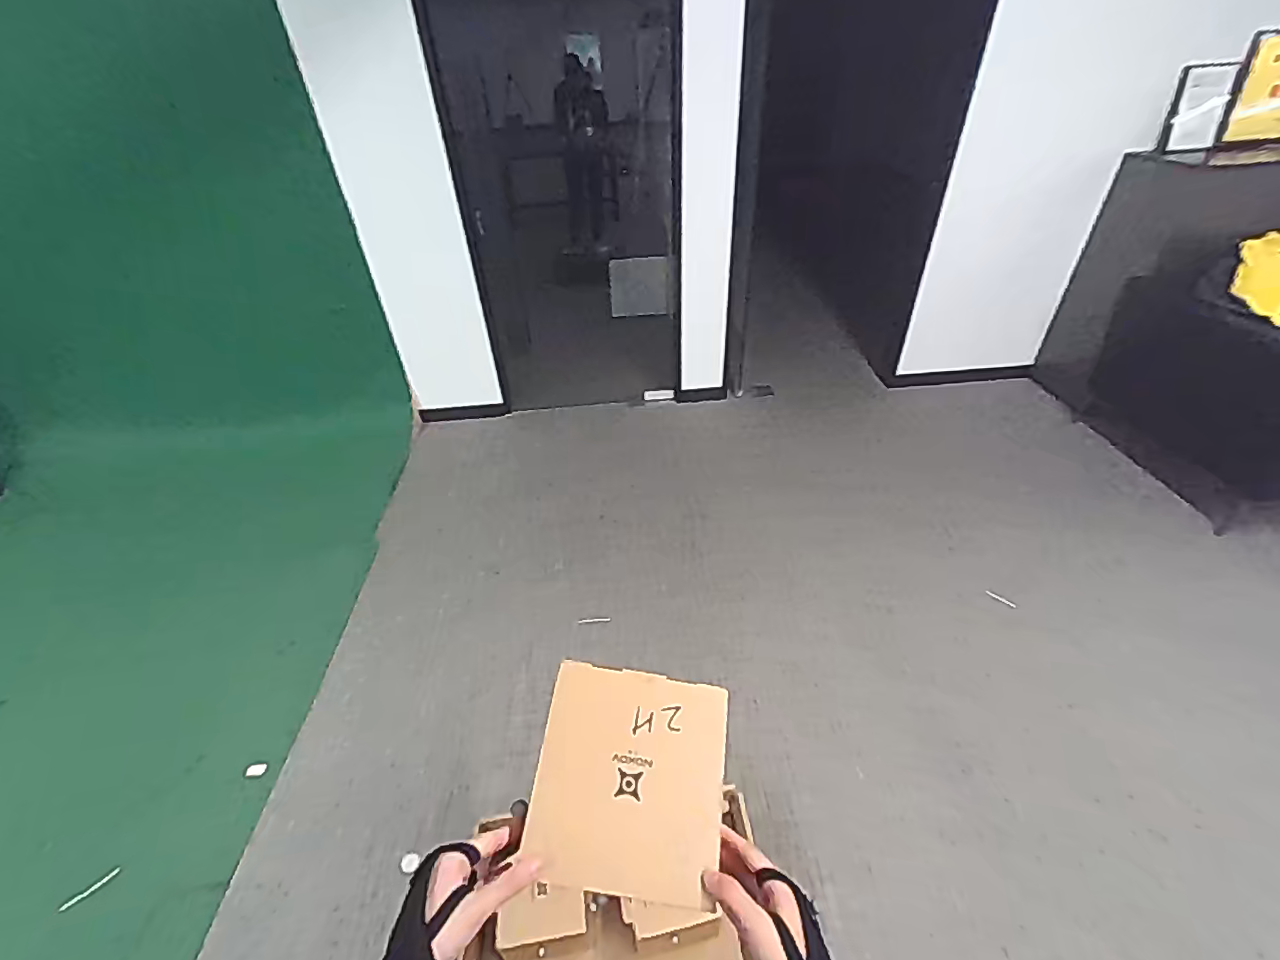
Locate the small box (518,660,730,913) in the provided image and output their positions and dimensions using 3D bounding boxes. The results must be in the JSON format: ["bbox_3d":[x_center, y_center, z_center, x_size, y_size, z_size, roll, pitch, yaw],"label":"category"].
[{"bbox_3d":[-0.013,0.303,0.545,0.168,0.176,0.179,10,57,0],"label":"small box"}]

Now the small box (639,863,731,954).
[{"bbox_3d":[0.086,0.877,1.158,0.179,0.176,0.168,-10,40,-7],"label":"small box"}]

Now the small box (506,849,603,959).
[{"bbox_3d":[-0.179,0.898,1.156,0.179,0.176,0.168,-7,40,-5],"label":"small box"}]
